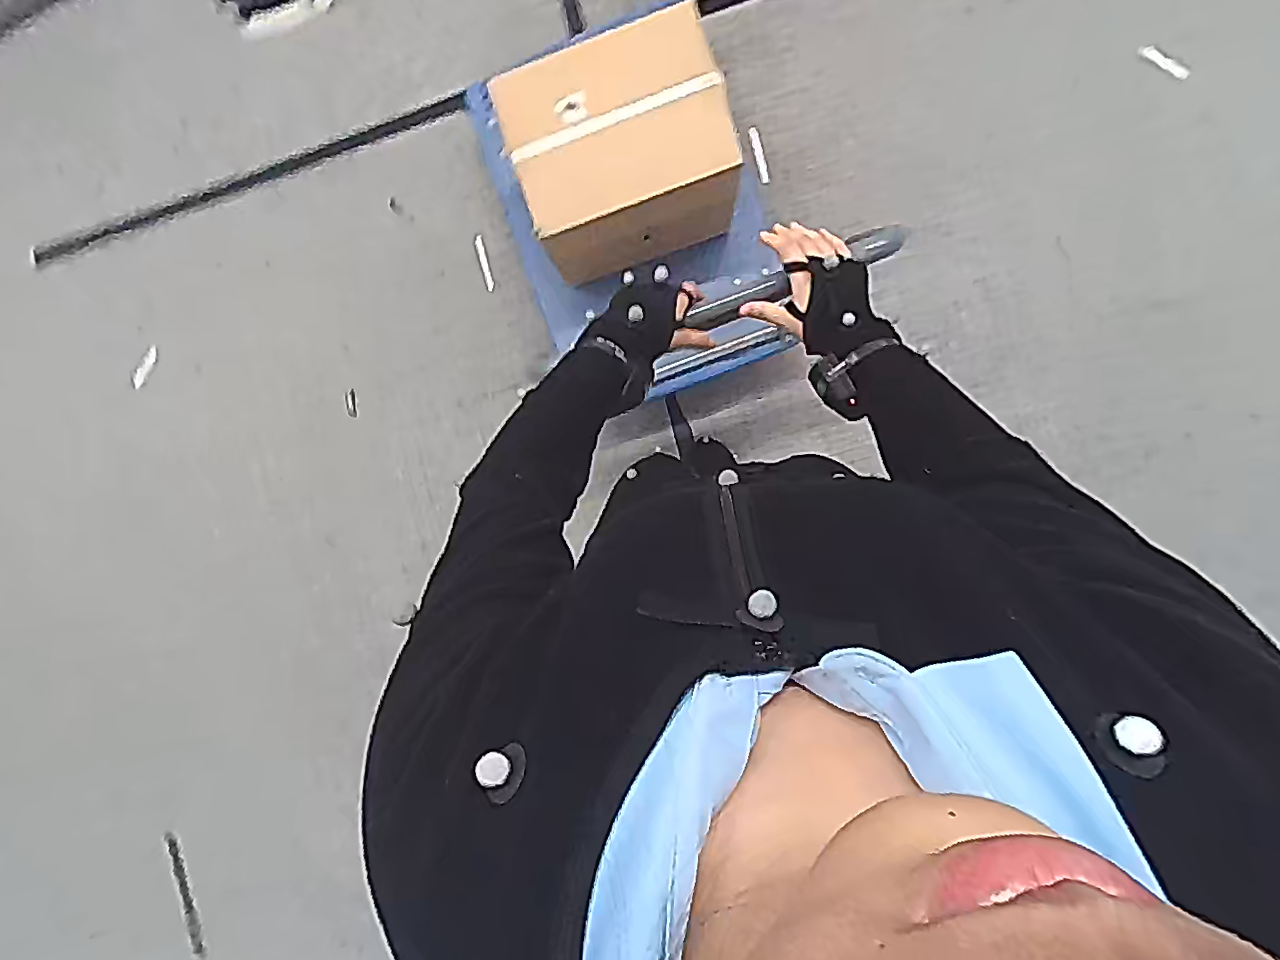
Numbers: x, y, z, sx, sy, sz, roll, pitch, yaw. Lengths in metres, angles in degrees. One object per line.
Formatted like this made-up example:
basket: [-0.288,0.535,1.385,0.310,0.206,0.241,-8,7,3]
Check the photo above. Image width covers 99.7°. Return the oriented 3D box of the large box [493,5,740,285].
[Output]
large box: [-0.035,-0.673,1.161,0.408,0.320,0.320,-19,90,6]
